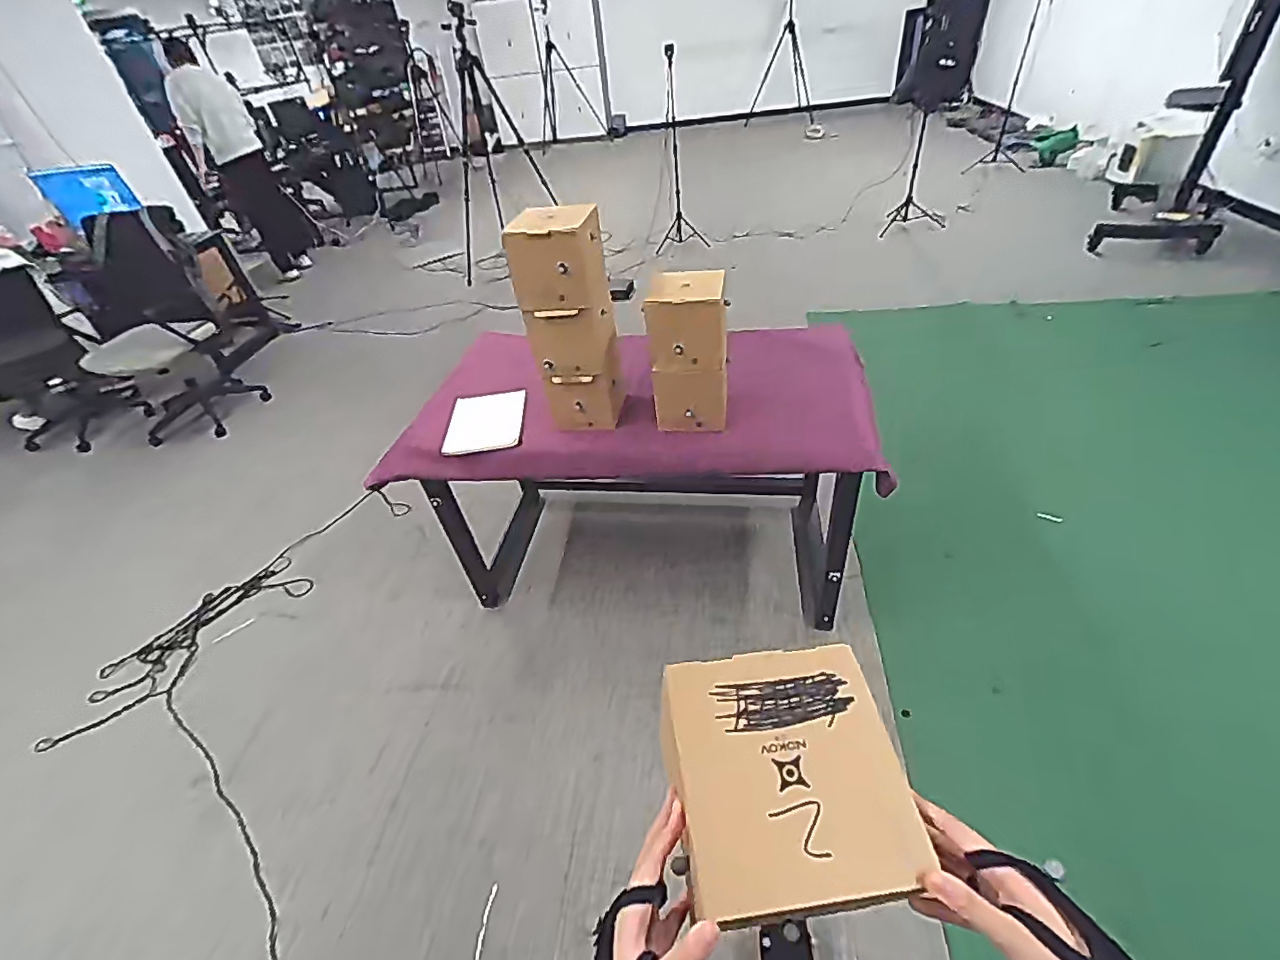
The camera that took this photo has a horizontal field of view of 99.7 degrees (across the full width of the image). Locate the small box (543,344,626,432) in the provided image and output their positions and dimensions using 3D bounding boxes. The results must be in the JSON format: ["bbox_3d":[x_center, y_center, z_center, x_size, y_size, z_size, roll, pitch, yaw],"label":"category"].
[{"bbox_3d":[-0.135,-0.237,1.411,0.168,0.176,0.179,2,42,10],"label":"small box"}]

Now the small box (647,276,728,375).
[{"bbox_3d":[0.116,-0.358,1.255,0.168,0.176,0.179,2,41,11],"label":"small box"}]

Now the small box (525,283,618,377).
[{"bbox_3d":[-0.154,-0.358,1.299,0.168,0.176,0.179,1,40,11],"label":"small box"}]

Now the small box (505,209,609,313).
[{"bbox_3d":[-0.172,-0.478,1.190,0.168,0.176,0.179,3,41,11],"label":"small box"}]

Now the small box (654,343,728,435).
[{"bbox_3d":[0.134,-0.230,1.354,0.168,0.176,0.179,1,41,11],"label":"small box"}]
